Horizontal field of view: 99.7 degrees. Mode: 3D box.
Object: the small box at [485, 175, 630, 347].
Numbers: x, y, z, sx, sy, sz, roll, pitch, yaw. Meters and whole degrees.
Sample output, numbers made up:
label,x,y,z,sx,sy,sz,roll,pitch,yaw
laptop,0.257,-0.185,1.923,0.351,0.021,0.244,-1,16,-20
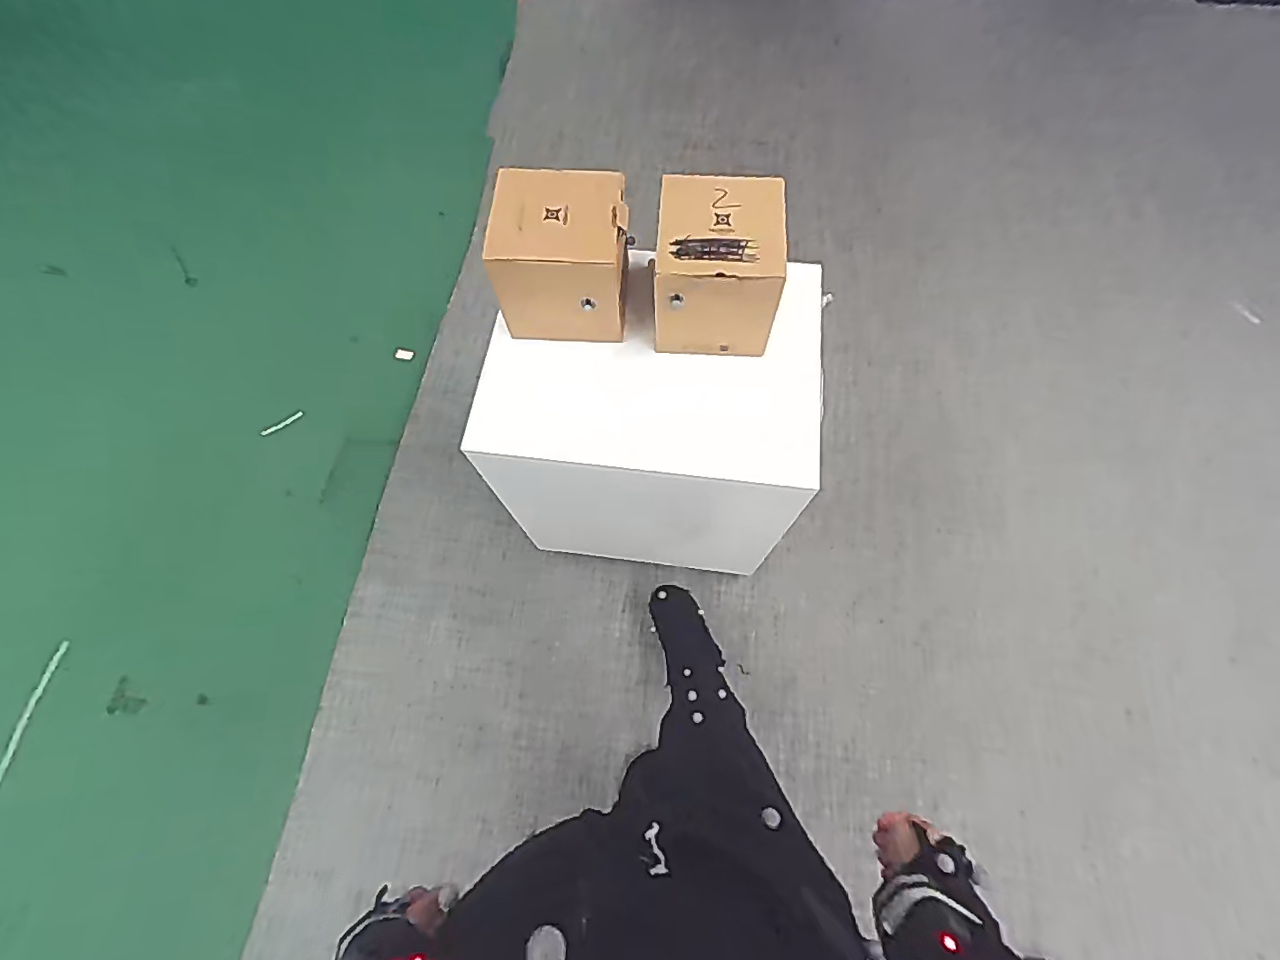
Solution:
label,x,y,z,sx,sy,sz,roll,pitch,yaw
small box,-0.106,-0.311,0.790,0.179,0.176,0.168,3,67,2
